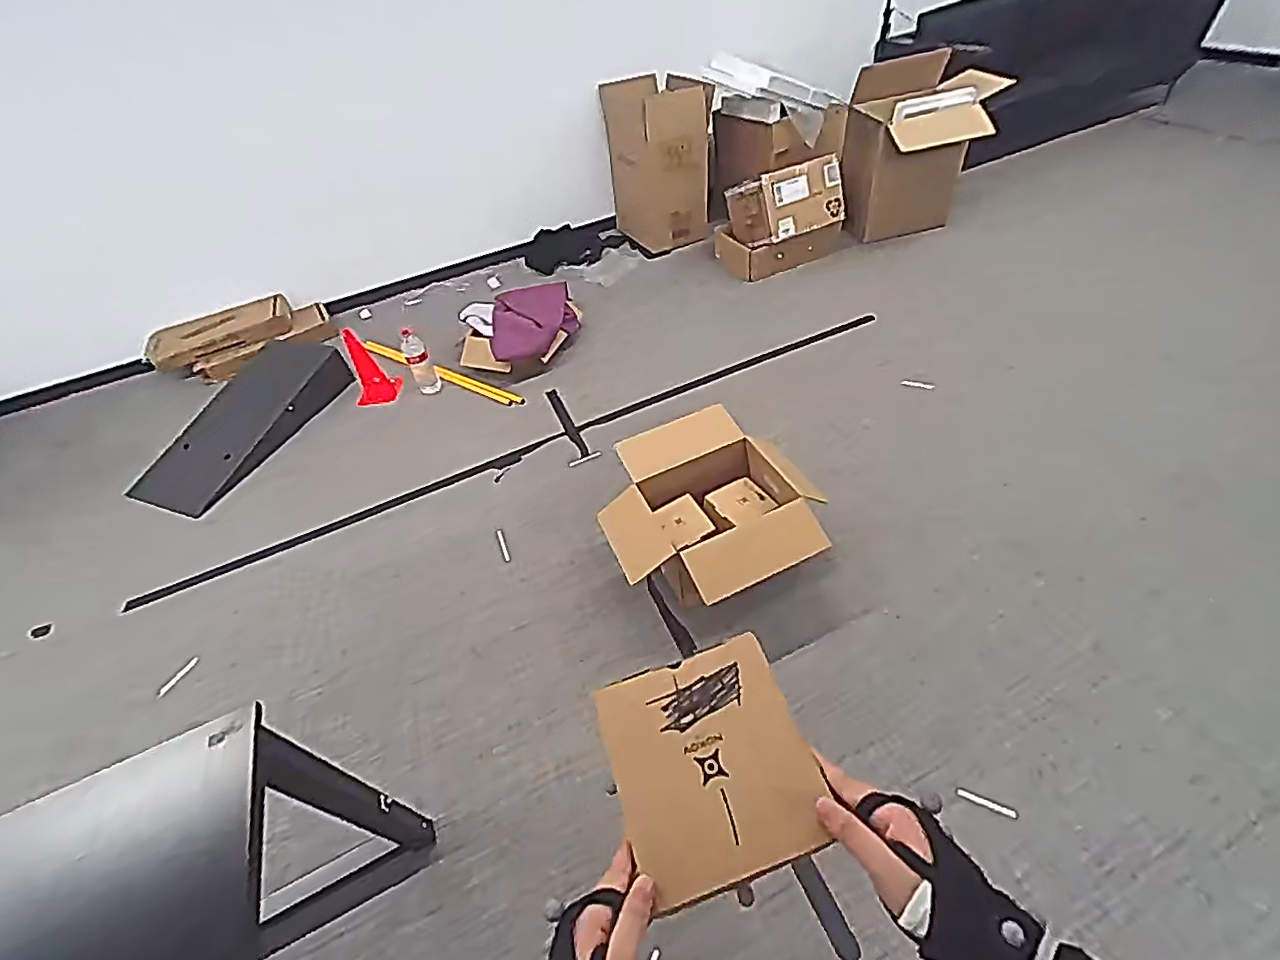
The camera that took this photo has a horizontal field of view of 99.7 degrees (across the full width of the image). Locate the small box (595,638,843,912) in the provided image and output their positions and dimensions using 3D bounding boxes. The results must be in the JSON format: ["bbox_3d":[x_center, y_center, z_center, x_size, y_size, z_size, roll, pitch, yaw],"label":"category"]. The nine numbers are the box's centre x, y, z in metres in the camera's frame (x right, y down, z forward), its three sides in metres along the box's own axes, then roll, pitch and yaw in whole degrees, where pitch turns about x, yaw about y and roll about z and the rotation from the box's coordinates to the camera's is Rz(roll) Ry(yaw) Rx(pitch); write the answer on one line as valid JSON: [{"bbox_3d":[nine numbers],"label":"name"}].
[{"bbox_3d":[0.067,0.288,0.527,0.168,0.176,0.179,-19,52,-5],"label":"small box"}]
